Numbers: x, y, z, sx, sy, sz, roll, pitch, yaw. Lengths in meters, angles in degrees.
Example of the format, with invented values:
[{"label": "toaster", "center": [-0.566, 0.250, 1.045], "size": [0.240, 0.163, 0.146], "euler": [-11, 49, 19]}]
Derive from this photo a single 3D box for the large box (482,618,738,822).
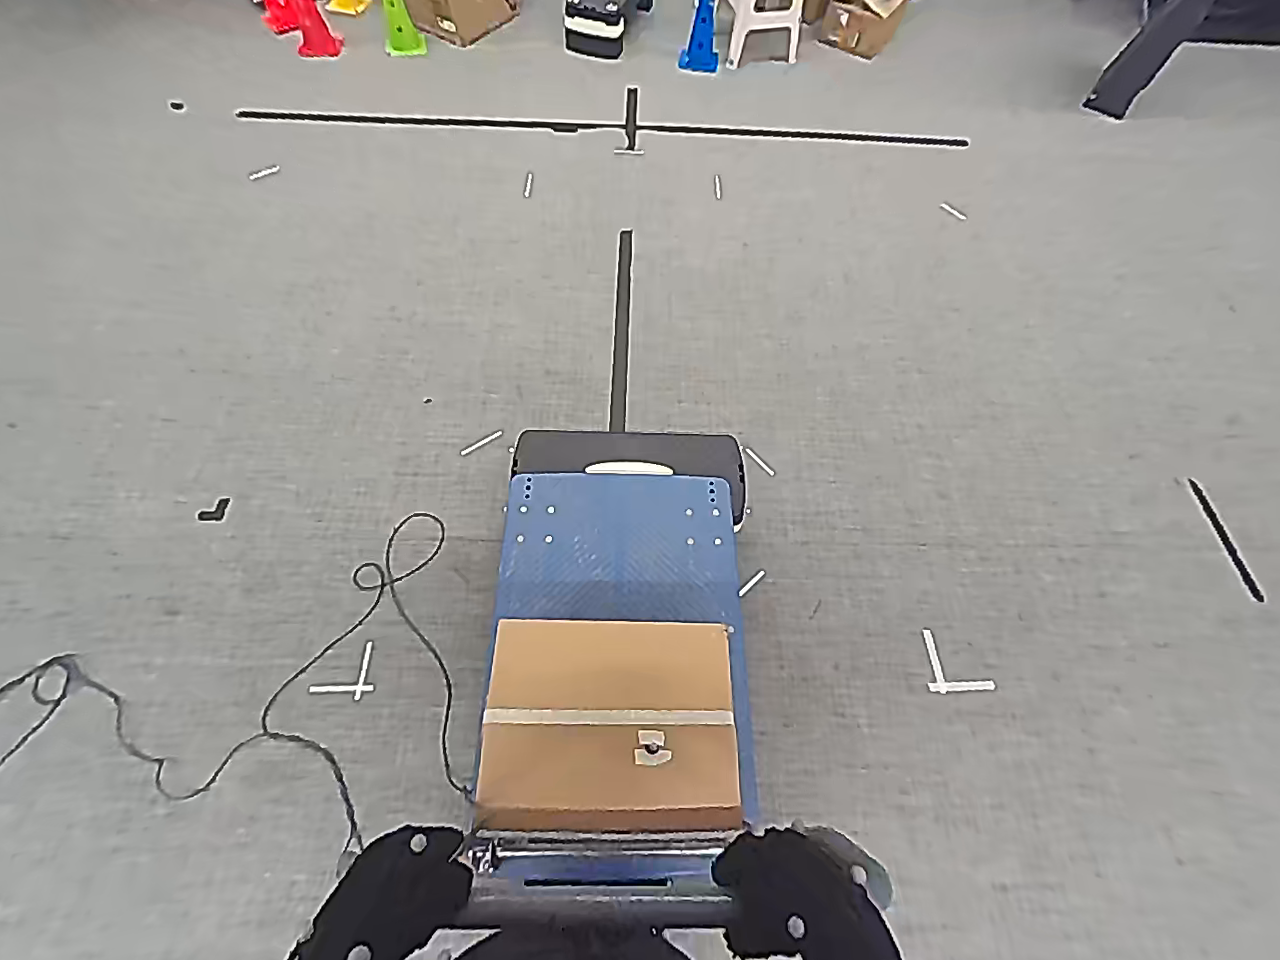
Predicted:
[{"label": "large box", "center": [-0.057, 0.460, 1.031], "size": [0.408, 0.320, 0.320], "euler": [2, 61, -4]}]
